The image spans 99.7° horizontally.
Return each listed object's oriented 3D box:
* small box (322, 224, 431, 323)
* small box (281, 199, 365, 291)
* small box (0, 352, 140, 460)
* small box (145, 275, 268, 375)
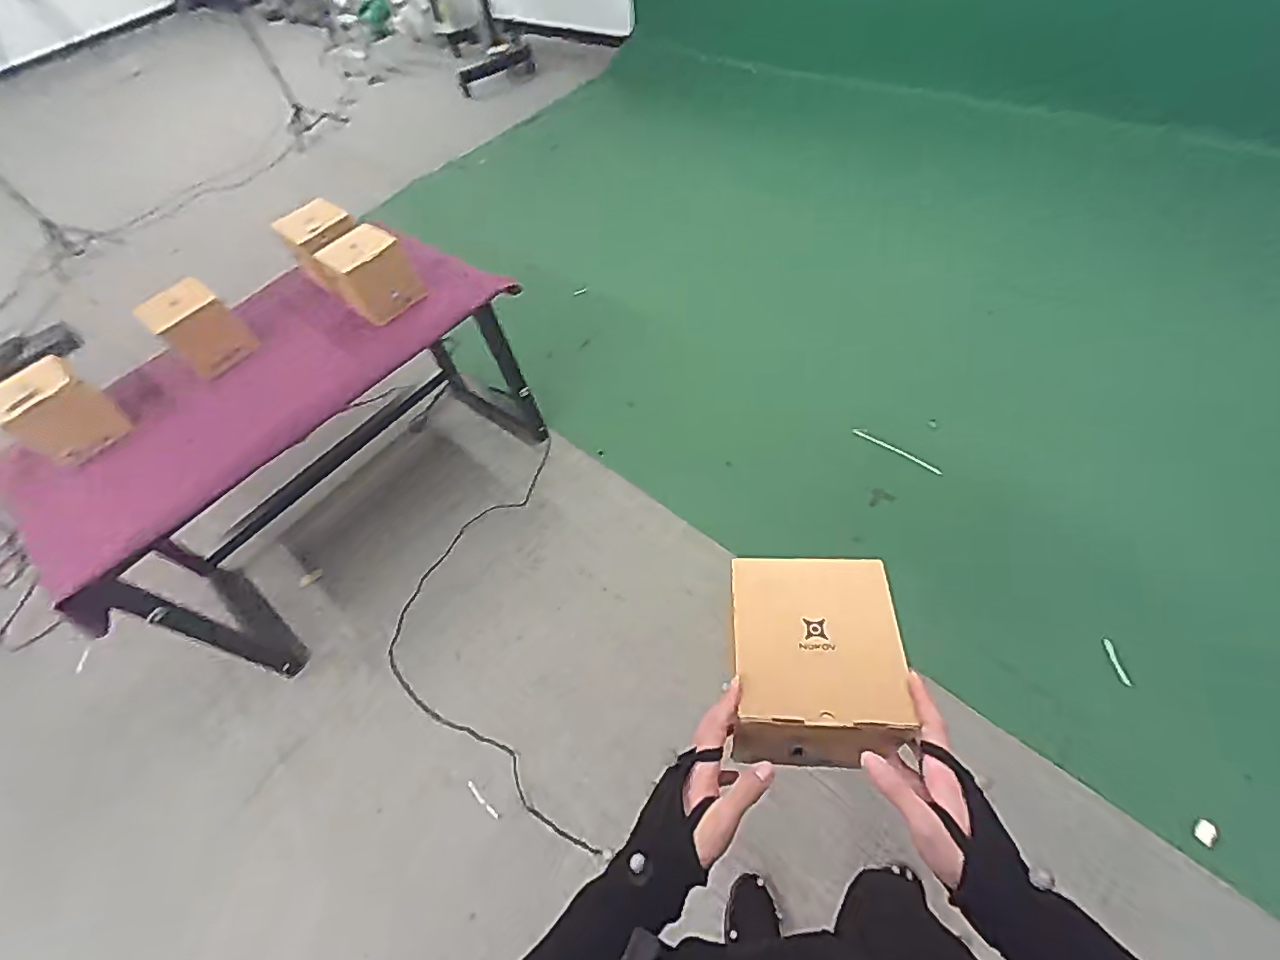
[{"bbox_3d":[-0.707,-0.557,1.466,0.179,0.176,0.168,35,69,29],"label":"small box"},{"bbox_3d":[-0.898,-0.687,1.591,0.179,0.176,0.168,33,68,27],"label":"small box"},{"bbox_3d":[-1.391,-0.174,1.323,0.179,0.176,0.168,33,66,27],"label":"small box"},{"bbox_3d":[-1.153,-0.410,1.448,0.179,0.176,0.168,35,68,27],"label":"small box"}]
